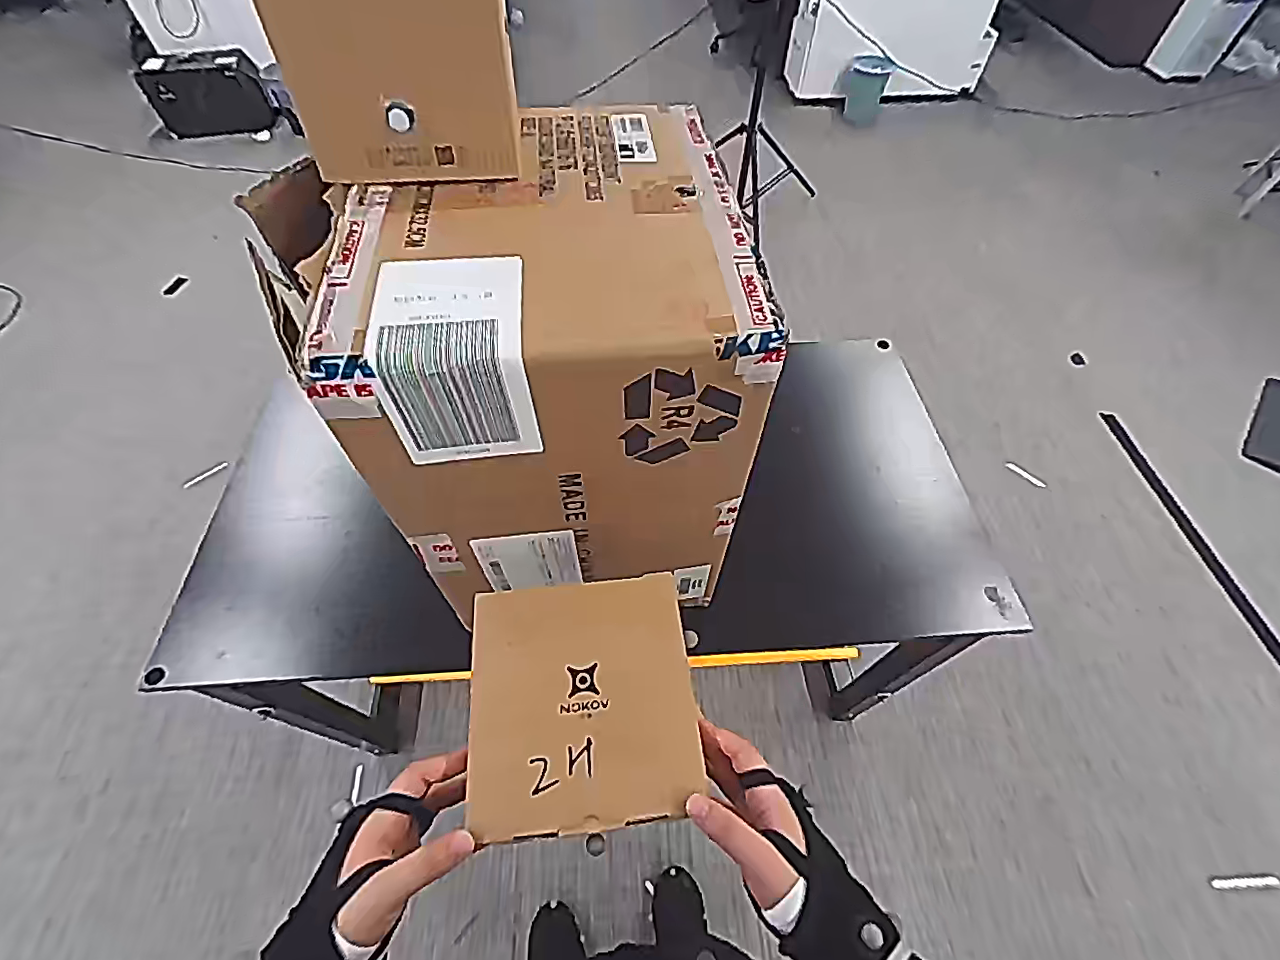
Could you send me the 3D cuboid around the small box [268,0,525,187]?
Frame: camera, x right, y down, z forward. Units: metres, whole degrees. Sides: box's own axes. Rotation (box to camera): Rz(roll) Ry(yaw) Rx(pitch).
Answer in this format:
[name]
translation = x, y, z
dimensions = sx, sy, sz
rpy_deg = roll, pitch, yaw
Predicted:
[small box]
translation = -0.190, -0.370, 0.452
dimensions = 0.168, 0.176, 0.179
rpy_deg = -6, 54, -8
